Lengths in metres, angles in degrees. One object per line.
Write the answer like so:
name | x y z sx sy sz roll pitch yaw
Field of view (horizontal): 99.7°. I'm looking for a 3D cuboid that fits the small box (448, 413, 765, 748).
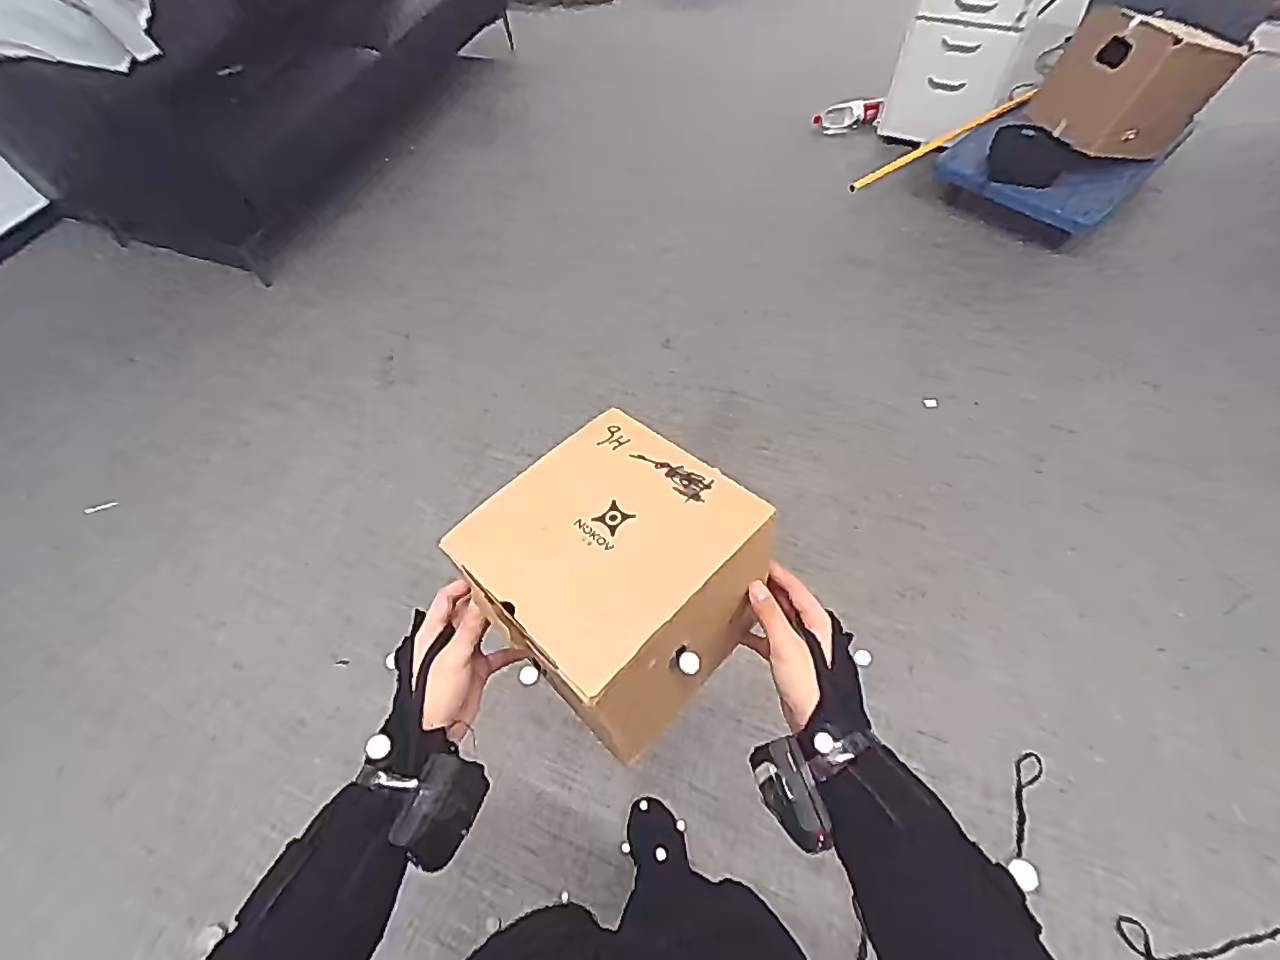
small box | -0.015 0.084 0.445 0.168 0.176 0.179 35 64 30
